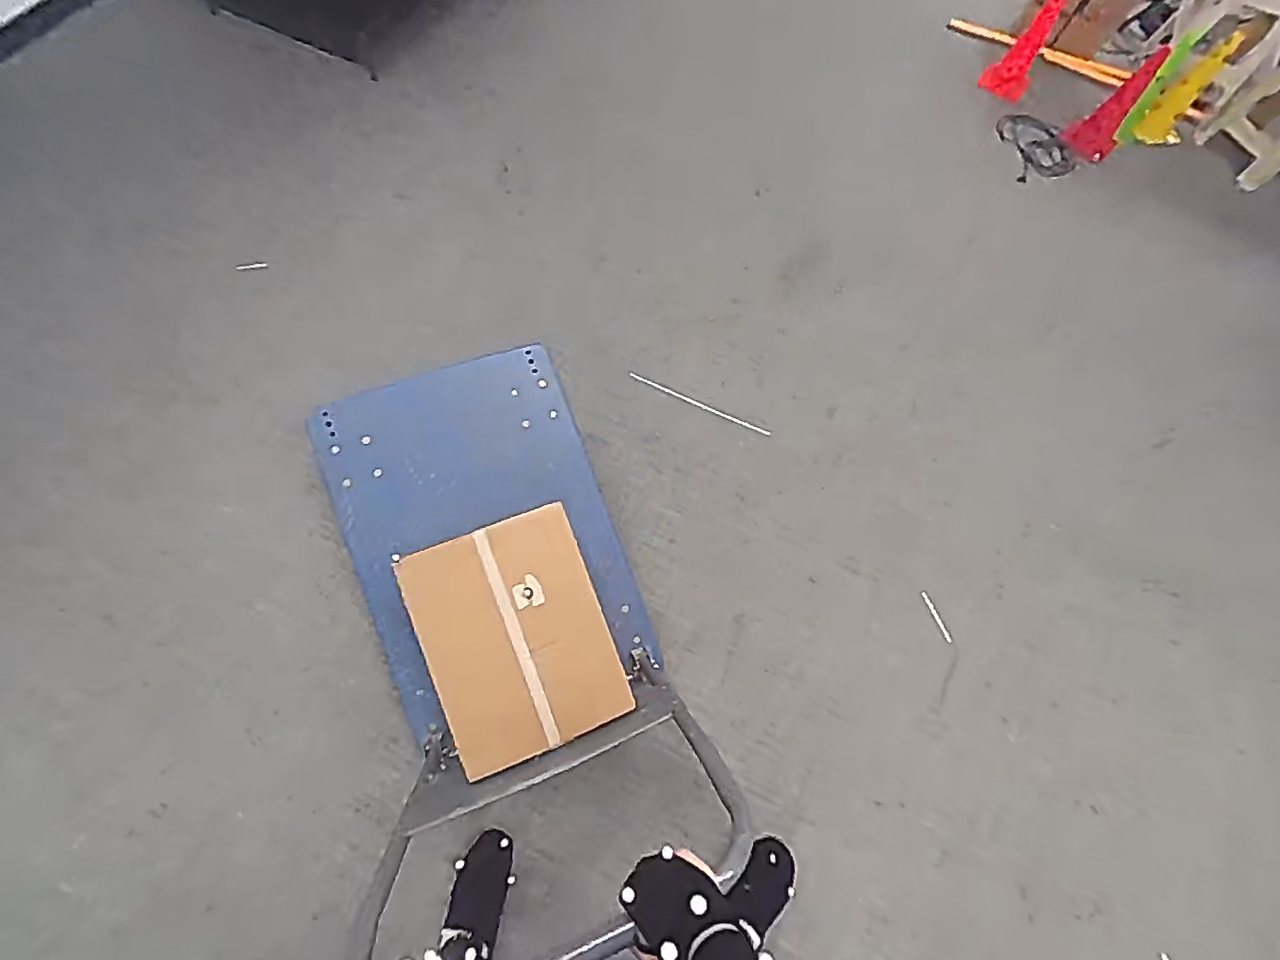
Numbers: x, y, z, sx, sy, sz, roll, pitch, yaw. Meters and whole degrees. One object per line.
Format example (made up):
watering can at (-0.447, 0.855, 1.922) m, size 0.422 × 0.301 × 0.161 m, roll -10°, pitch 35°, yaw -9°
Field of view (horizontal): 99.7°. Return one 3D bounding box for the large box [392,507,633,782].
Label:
large box at (-0.246, 0.304, 1.111) m, size 0.320 × 0.320 × 0.408 m, roll -21°, pitch 86°, yaw -12°
